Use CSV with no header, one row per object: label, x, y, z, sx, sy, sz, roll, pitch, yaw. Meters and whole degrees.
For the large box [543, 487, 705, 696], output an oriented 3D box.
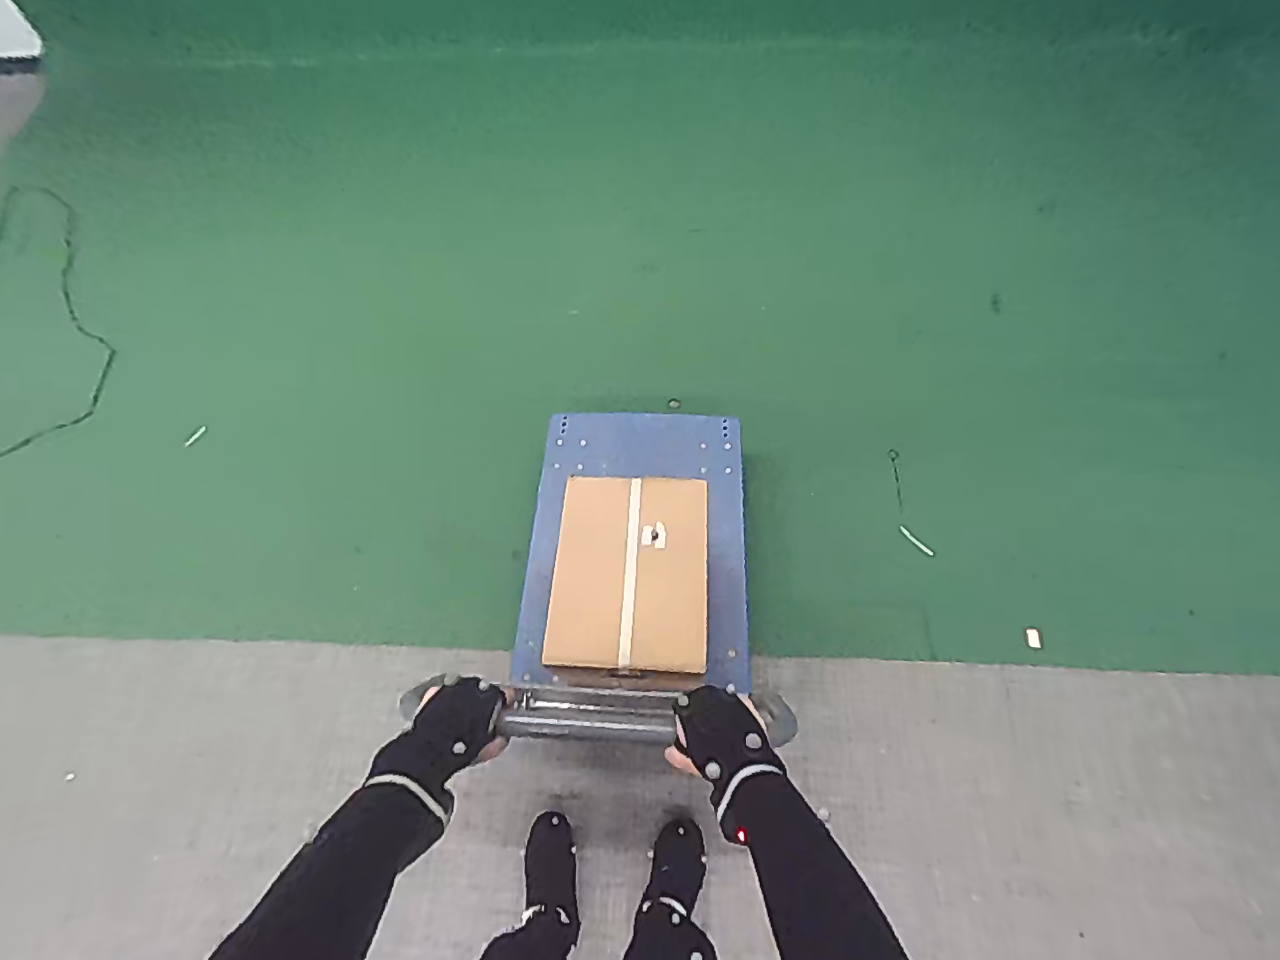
large box,-0.017,0.264,1.238,0.320,0.320,0.408,2,62,4
